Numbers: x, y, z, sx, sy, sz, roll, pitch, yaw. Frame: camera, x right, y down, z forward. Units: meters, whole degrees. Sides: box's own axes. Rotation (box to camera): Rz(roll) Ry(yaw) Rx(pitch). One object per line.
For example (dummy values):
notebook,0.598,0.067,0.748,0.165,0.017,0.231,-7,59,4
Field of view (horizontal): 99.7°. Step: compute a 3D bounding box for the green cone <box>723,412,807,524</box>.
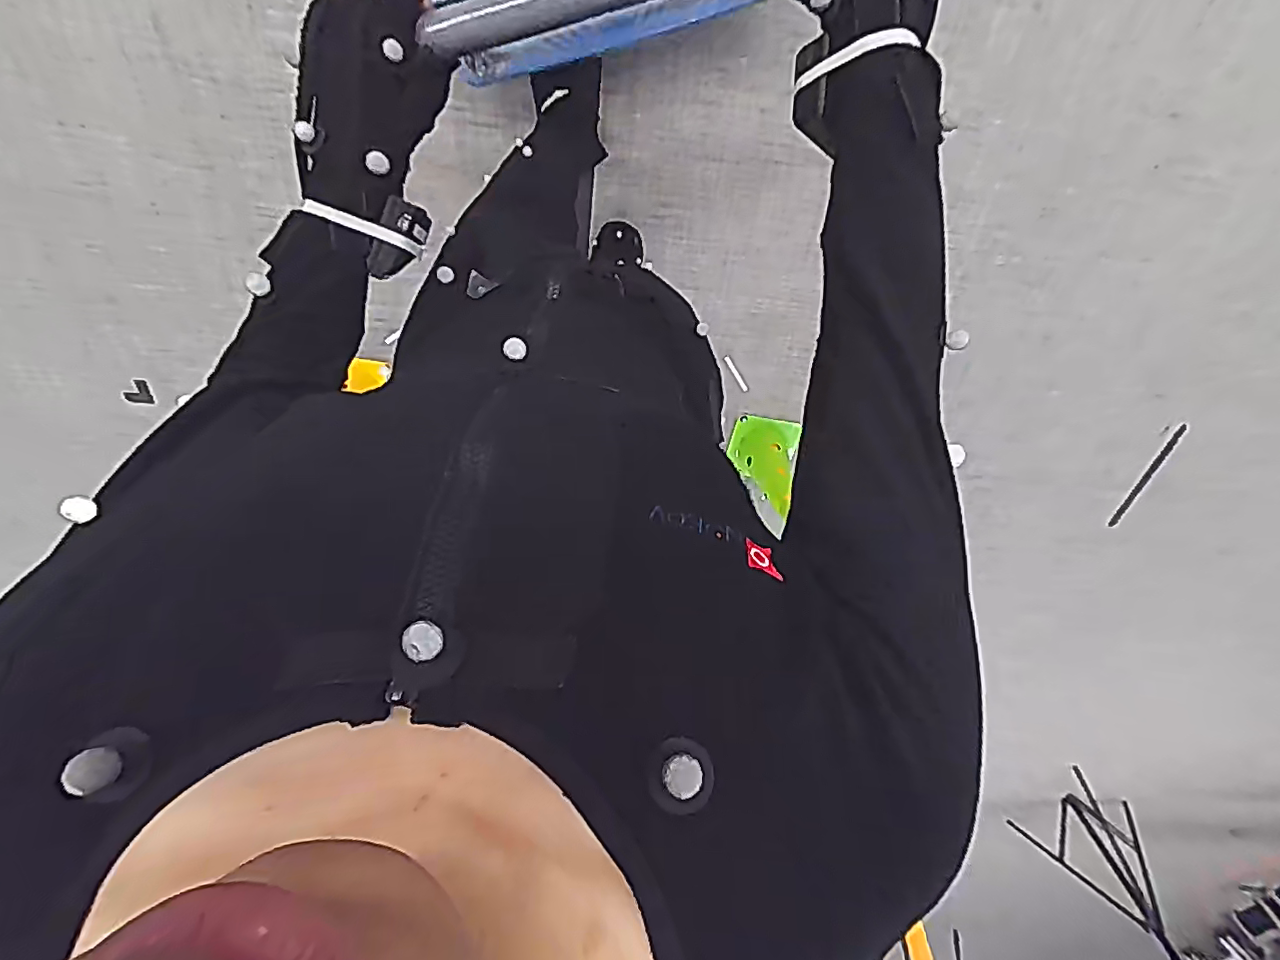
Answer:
green cone,0.370,-0.006,1.460,0.202,0.368,0.200,7,124,-9
